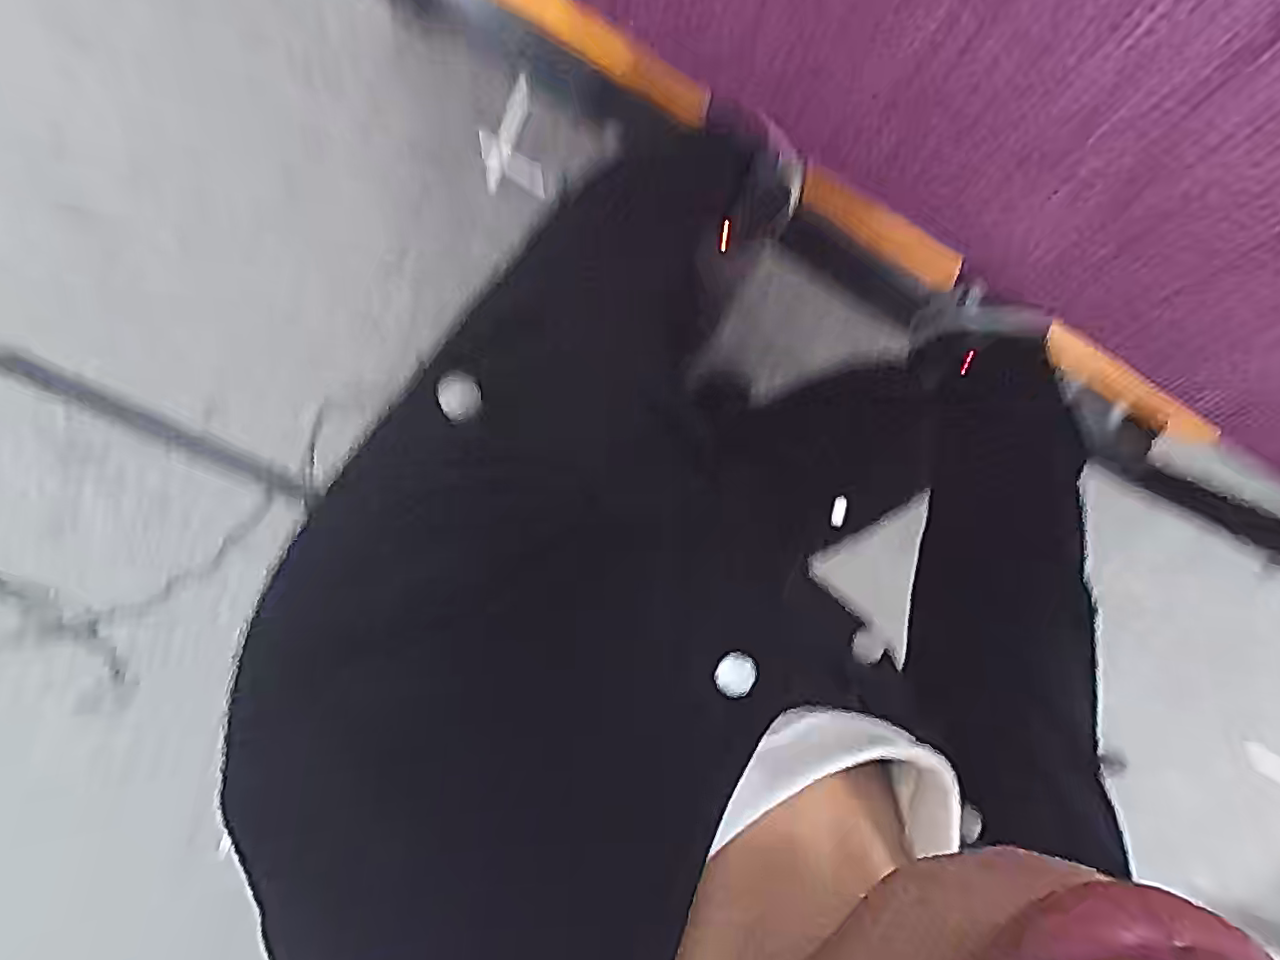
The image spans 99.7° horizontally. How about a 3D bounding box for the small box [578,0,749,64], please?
[{"bbox_3d":[0.037,-0.550,0.534,0.179,0.176,0.168,20,113,-11],"label":"small box"}]
